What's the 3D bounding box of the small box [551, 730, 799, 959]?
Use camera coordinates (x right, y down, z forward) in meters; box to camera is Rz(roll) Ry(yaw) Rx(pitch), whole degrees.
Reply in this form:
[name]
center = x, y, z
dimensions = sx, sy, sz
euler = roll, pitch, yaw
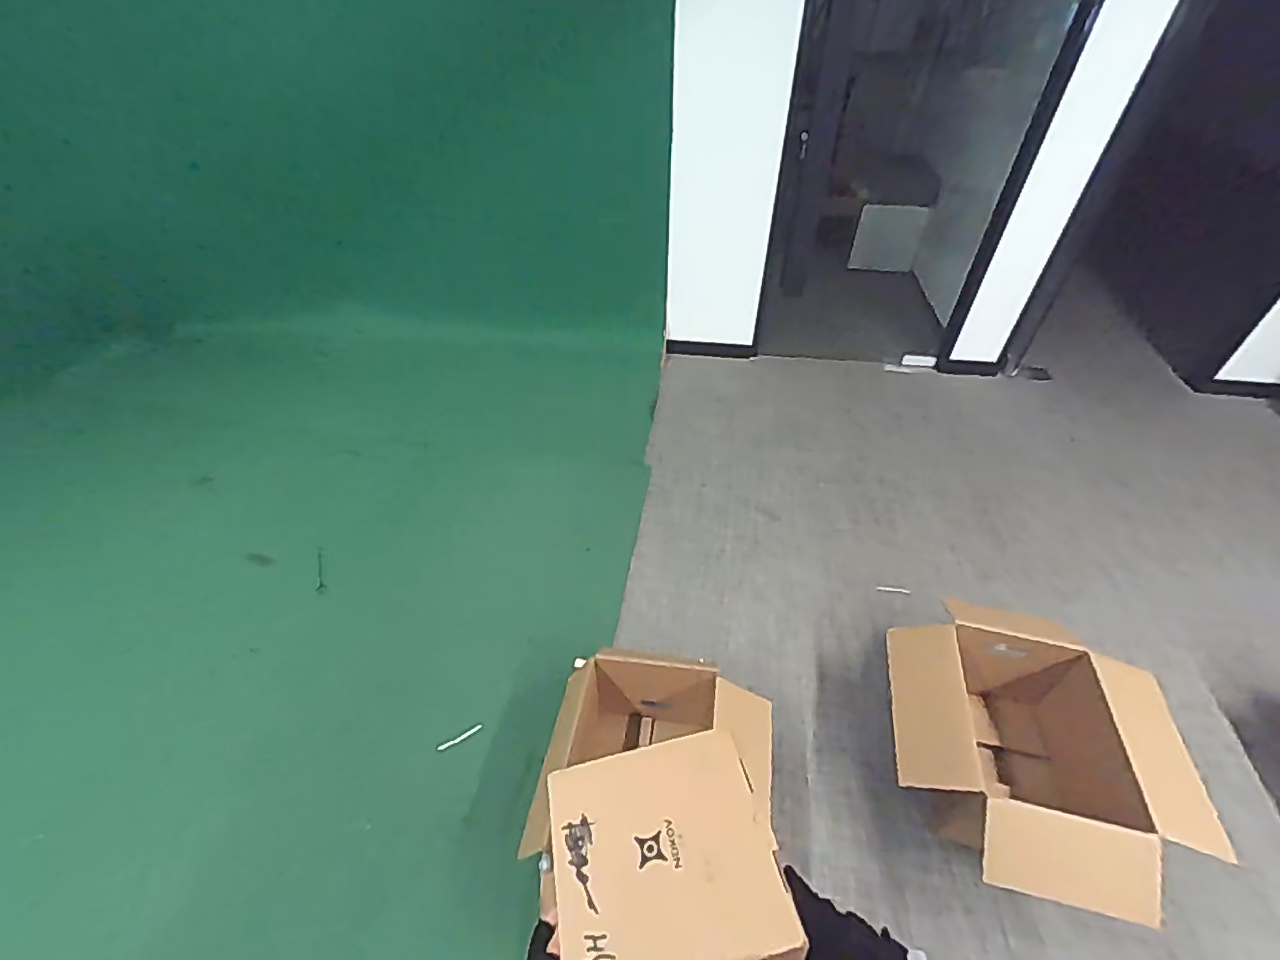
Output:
[small box]
center = 0.021, 0.361, 0.488
dimensions = 0.179, 0.176, 0.168
euler = -9, 36, -6
